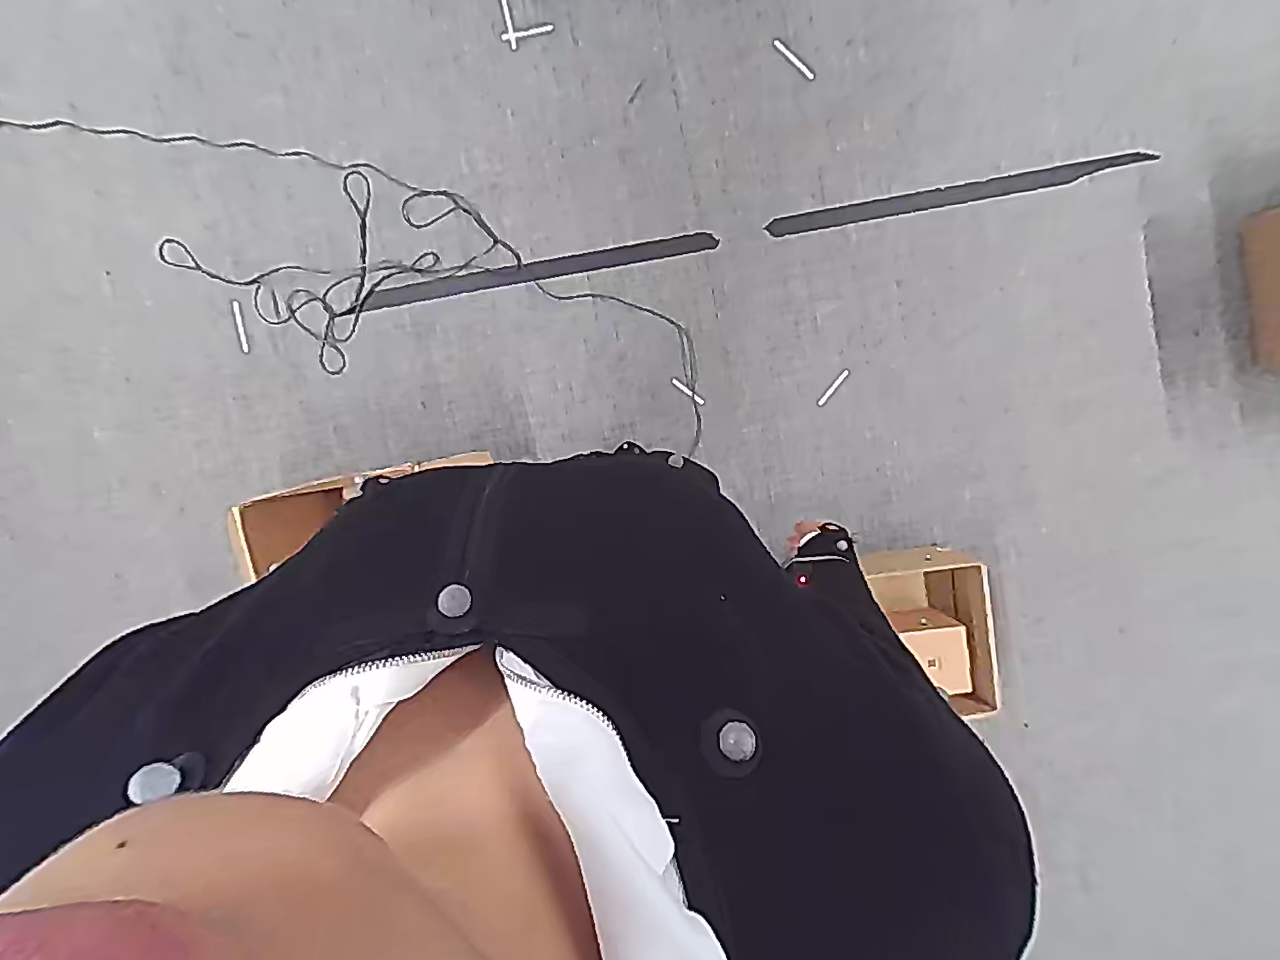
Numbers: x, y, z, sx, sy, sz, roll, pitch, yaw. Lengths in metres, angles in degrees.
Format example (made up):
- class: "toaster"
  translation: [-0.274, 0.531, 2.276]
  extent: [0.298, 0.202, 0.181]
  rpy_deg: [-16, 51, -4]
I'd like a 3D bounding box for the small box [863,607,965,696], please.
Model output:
- class: "small box"
  translation: [0.704, 0.438, 1.405]
  extent: [0.179, 0.176, 0.168]
  rpy_deg: [-7, 91, 1]
